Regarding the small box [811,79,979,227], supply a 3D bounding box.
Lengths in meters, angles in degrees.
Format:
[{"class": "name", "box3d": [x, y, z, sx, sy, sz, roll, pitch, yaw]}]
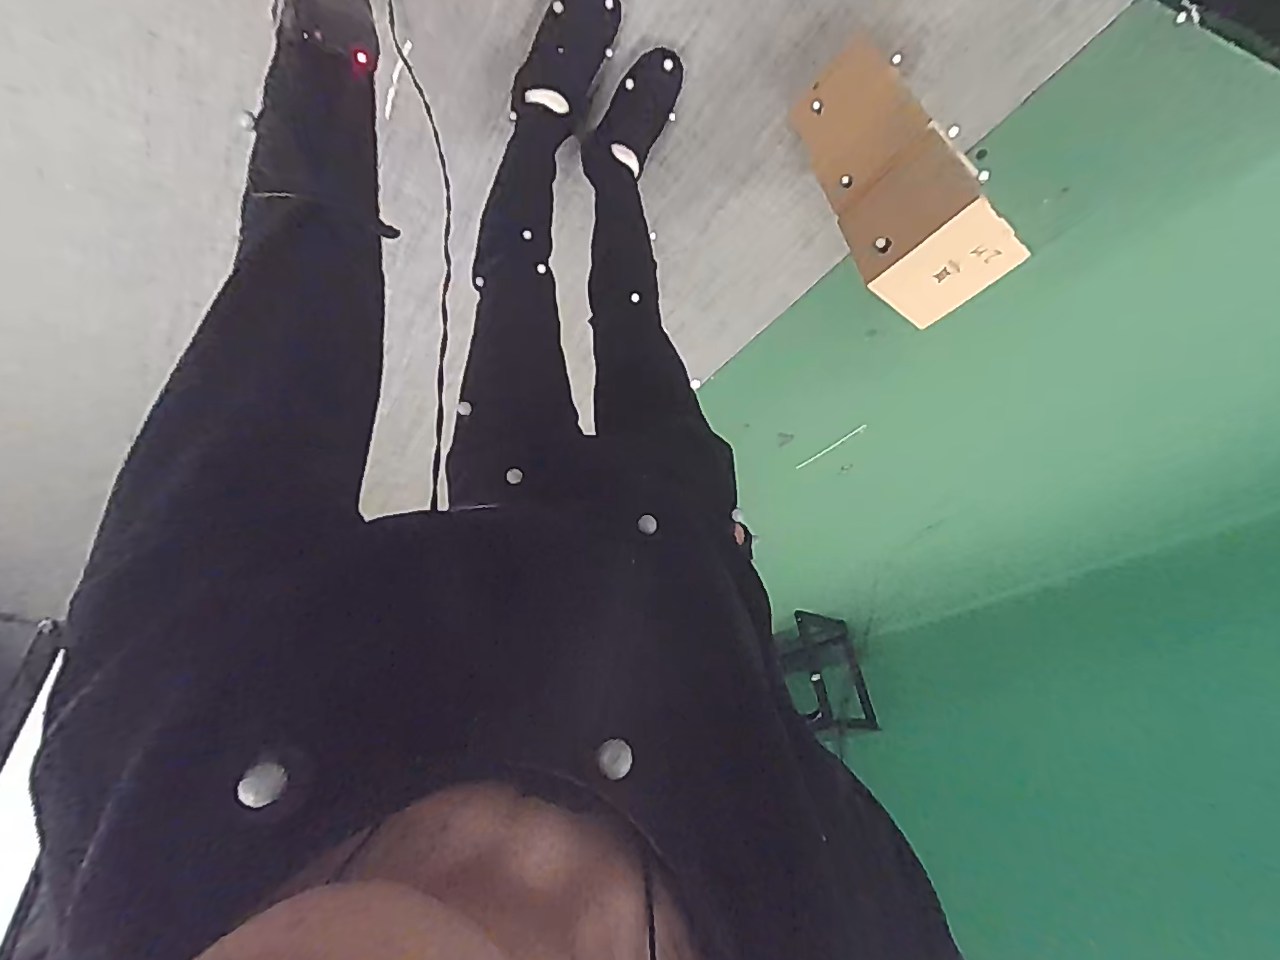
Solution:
[{"class": "small box", "box3d": [0.422, -0.523, 0.918, 0.168, 0.176, 0.179, 18, 141, -33]}]

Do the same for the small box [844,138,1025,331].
[{"class": "small box", "box3d": [0.444, -0.377, 0.844, 0.168, 0.176, 0.179, 18, 141, -34]}]

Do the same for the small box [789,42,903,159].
[{"class": "small box", "box3d": [0.404, -0.661, 1.002, 0.179, 0.176, 0.168, 20, 139, -35]}]
